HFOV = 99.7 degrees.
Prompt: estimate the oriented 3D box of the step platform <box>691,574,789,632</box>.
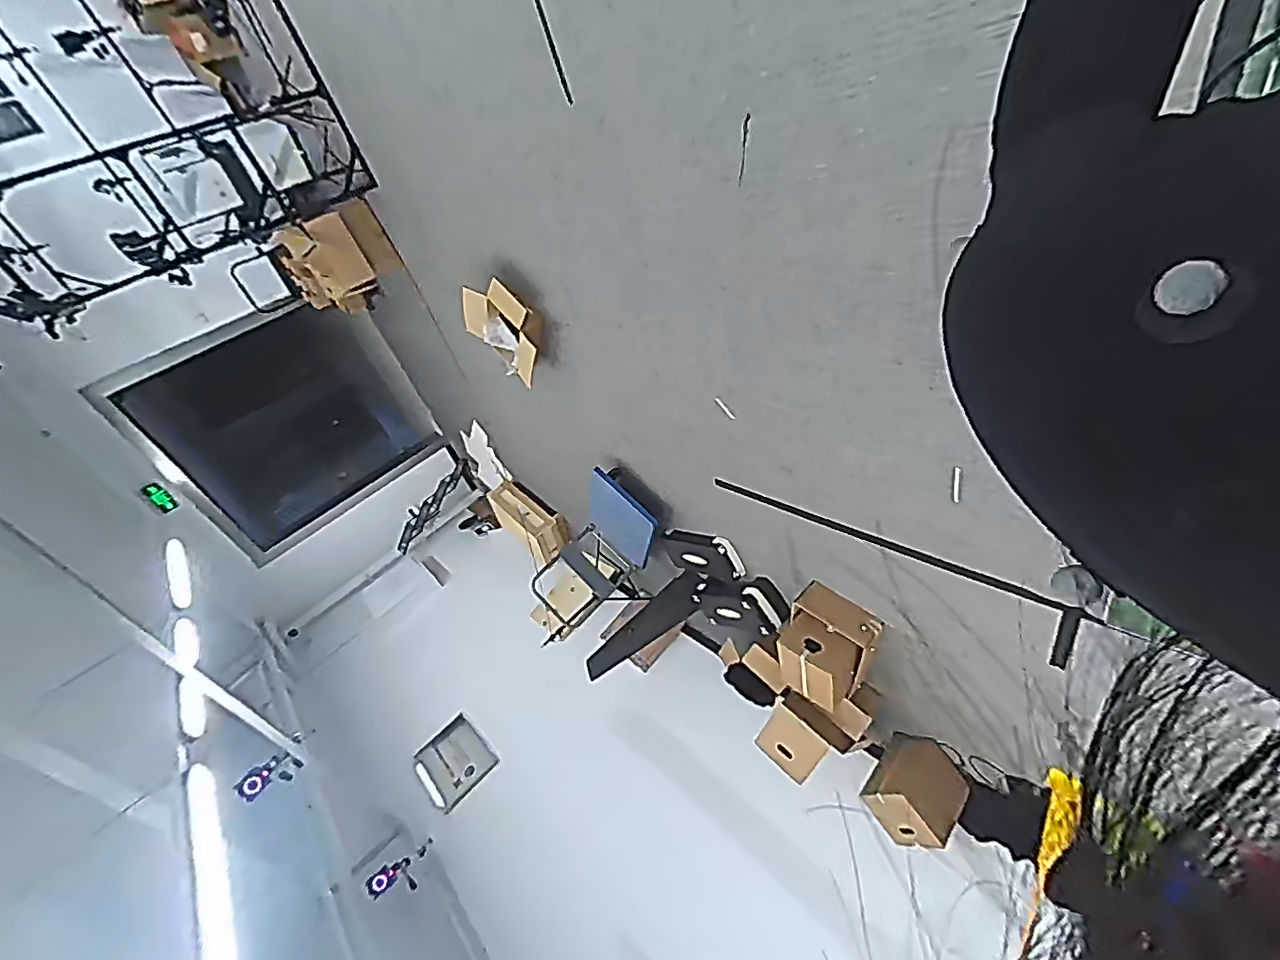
[{"bbox_3d":[0.605,0.769,3.416,0.286,0.204,0.684,54,154,-9],"label":"step platform"}]
